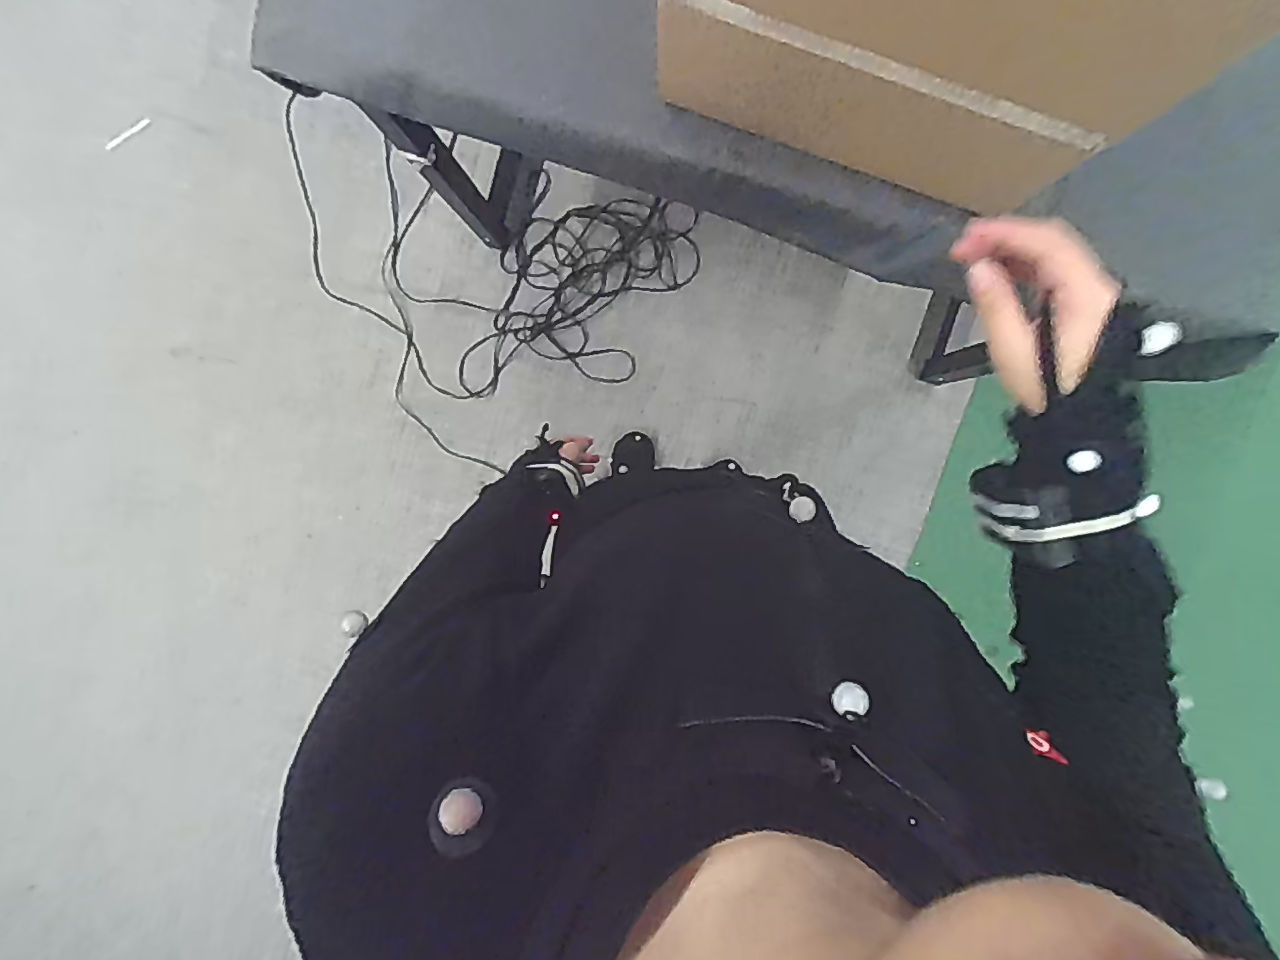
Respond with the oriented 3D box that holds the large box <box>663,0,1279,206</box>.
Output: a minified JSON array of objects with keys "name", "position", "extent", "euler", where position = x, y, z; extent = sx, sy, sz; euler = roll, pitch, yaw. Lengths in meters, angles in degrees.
[{"name":"large box","position":[0.256,-0.492,0.443],"extent":[0.408,0.320,0.320],"euler":[19,93,0]}]
